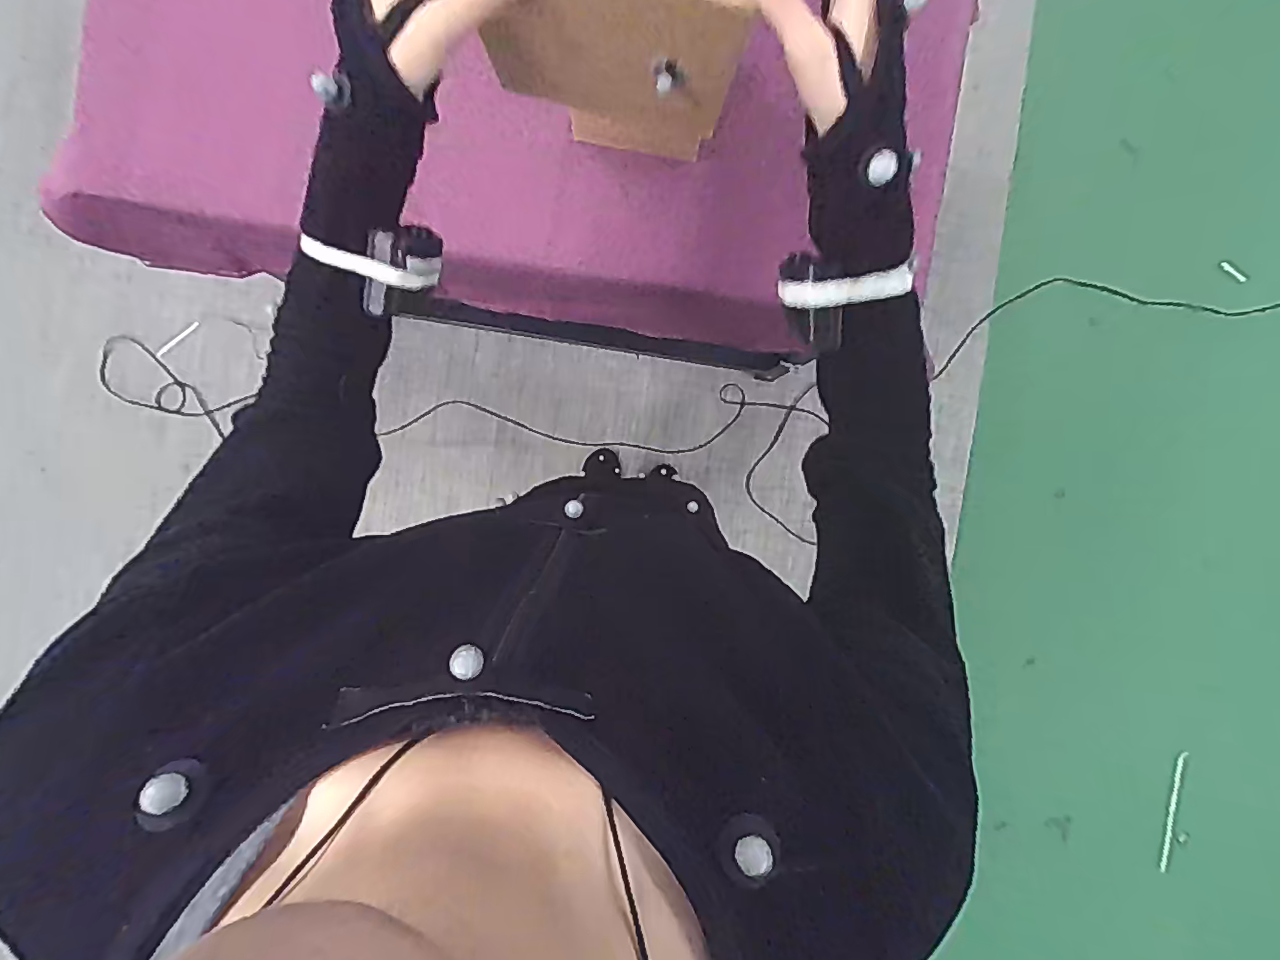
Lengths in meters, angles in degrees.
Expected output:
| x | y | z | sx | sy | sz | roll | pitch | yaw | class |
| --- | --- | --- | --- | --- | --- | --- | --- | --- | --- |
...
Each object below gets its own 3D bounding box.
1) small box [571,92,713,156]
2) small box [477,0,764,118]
| x | y | z | sx | sy | sz | roll | pitch | yaw | class |
| --- | --- | --- | --- | --- | --- | --- | --- | --- | --- |
| 0.012 | -0.541 | 0.678 | 0.179 | 0.176 | 0.168 | 10 | 92 | -2 | small box |
| -0.005 | -0.364 | 0.341 | 0.179 | 0.176 | 0.168 | 11 | 101 | -4 | small box |
